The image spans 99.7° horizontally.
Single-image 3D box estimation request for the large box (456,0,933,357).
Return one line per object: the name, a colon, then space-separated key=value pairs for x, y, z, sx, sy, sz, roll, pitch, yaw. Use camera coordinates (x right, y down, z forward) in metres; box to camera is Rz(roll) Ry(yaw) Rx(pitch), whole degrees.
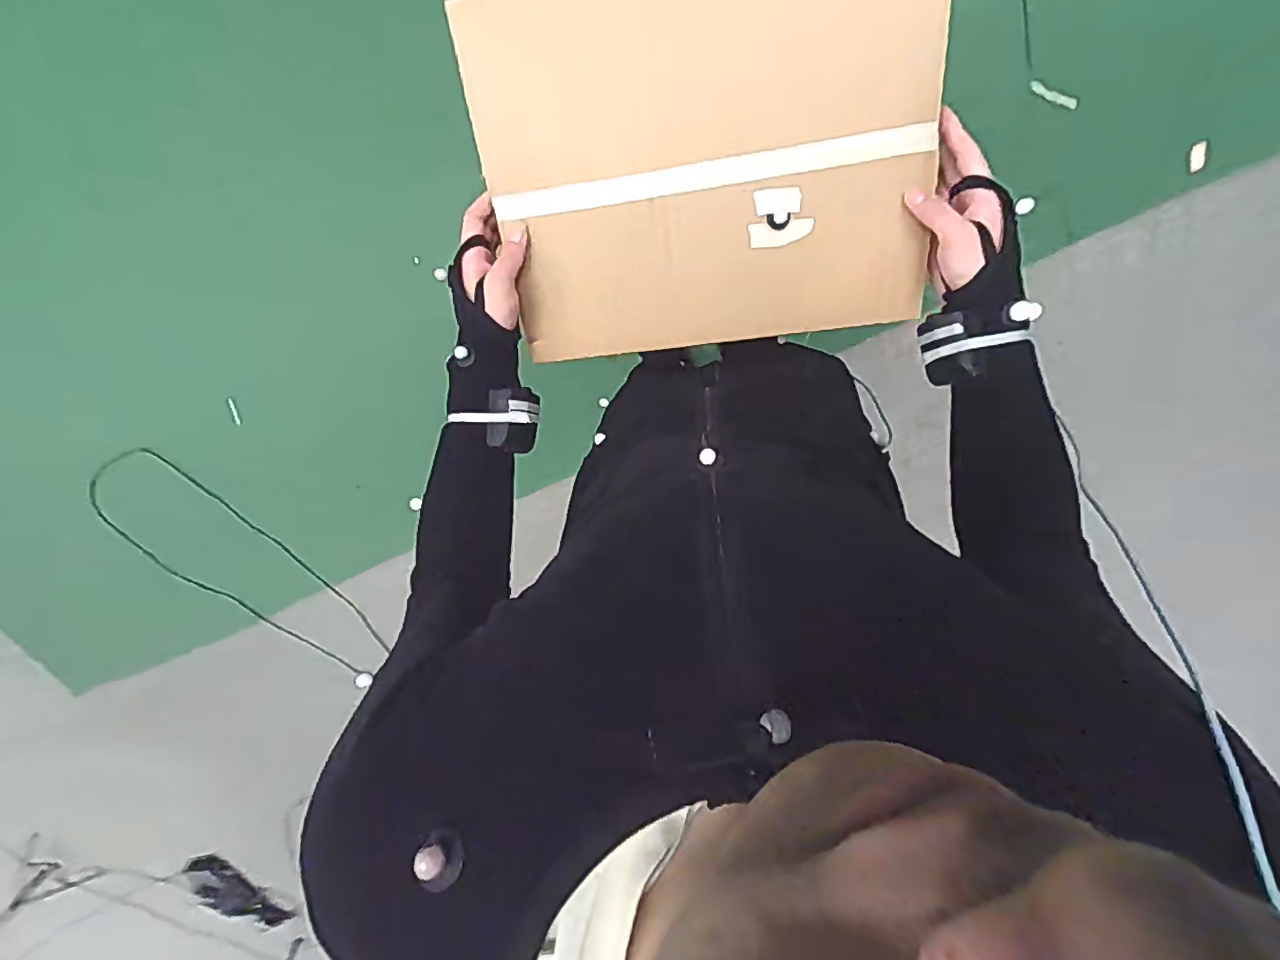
large box: x=0.066 y=-0.361 z=0.637 sx=0.408 sy=0.320 sz=0.320 roll=-5 pitch=120 yaw=8
